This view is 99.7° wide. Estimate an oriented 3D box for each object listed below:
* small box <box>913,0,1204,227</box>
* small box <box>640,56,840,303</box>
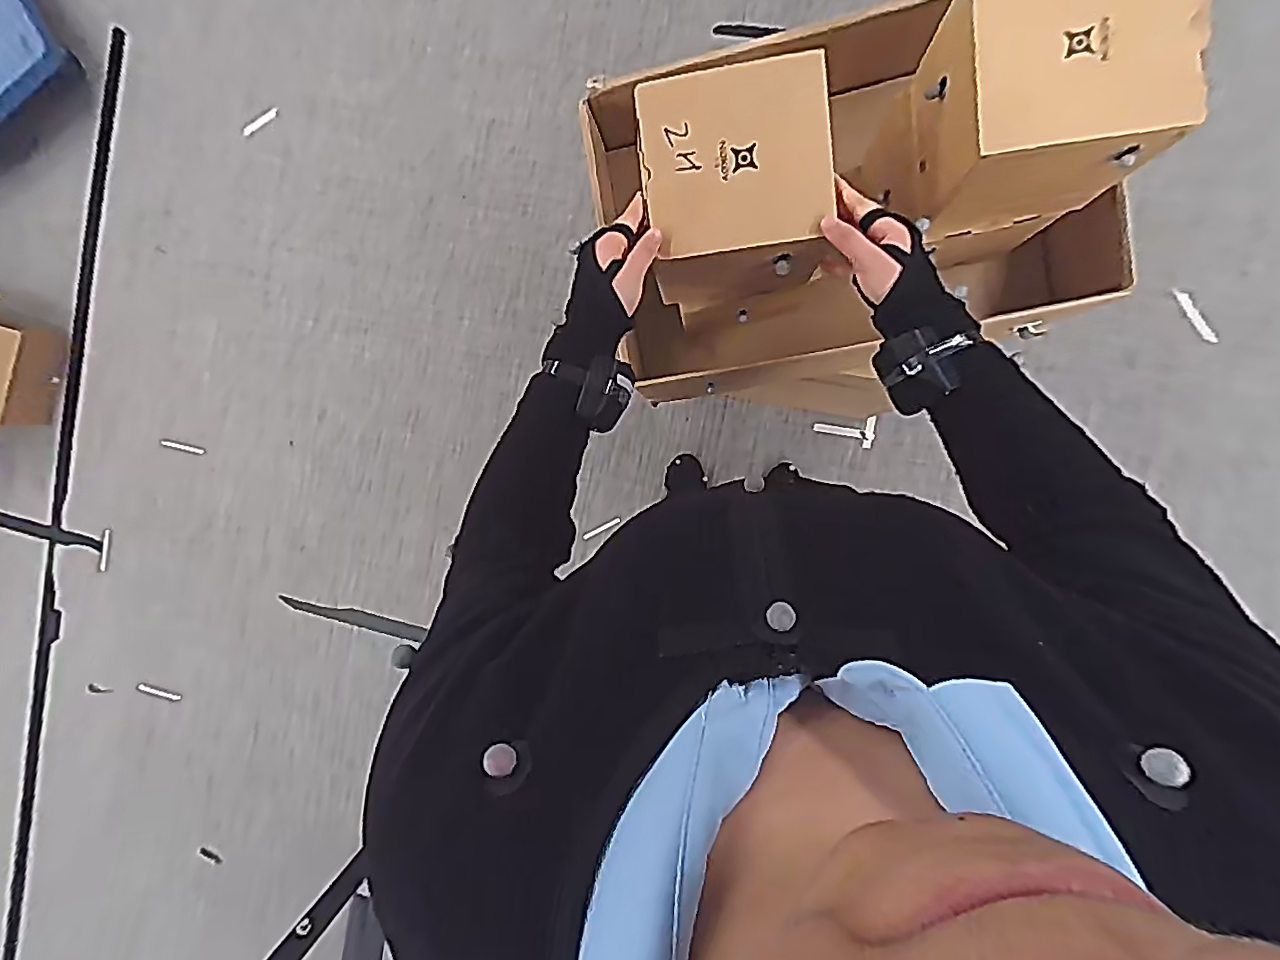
[{"bbox_3d":[0.388,-0.374,0.538,0.179,0.176,0.168,-5,93,9],"label":"small box"},{"bbox_3d":[0.101,-0.300,0.581,0.179,0.176,0.168,-5,93,8],"label":"small box"}]
